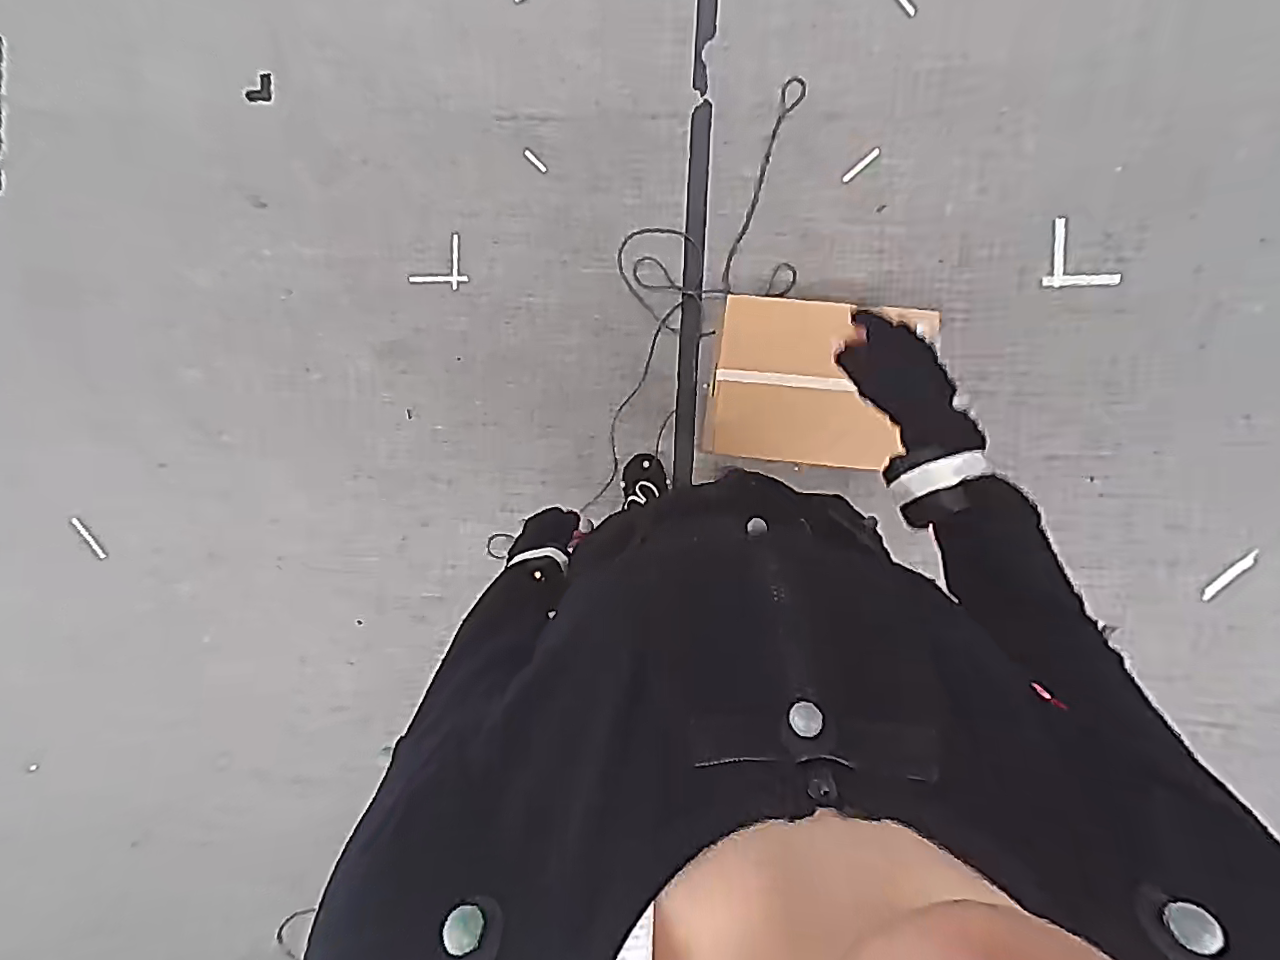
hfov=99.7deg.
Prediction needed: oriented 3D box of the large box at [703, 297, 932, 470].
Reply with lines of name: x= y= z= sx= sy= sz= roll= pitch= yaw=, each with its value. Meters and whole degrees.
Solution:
large box: x=0.357 y=-0.196 z=1.202 sx=0.408 sy=0.320 sz=0.320 roll=6 pitch=94 yaw=3
